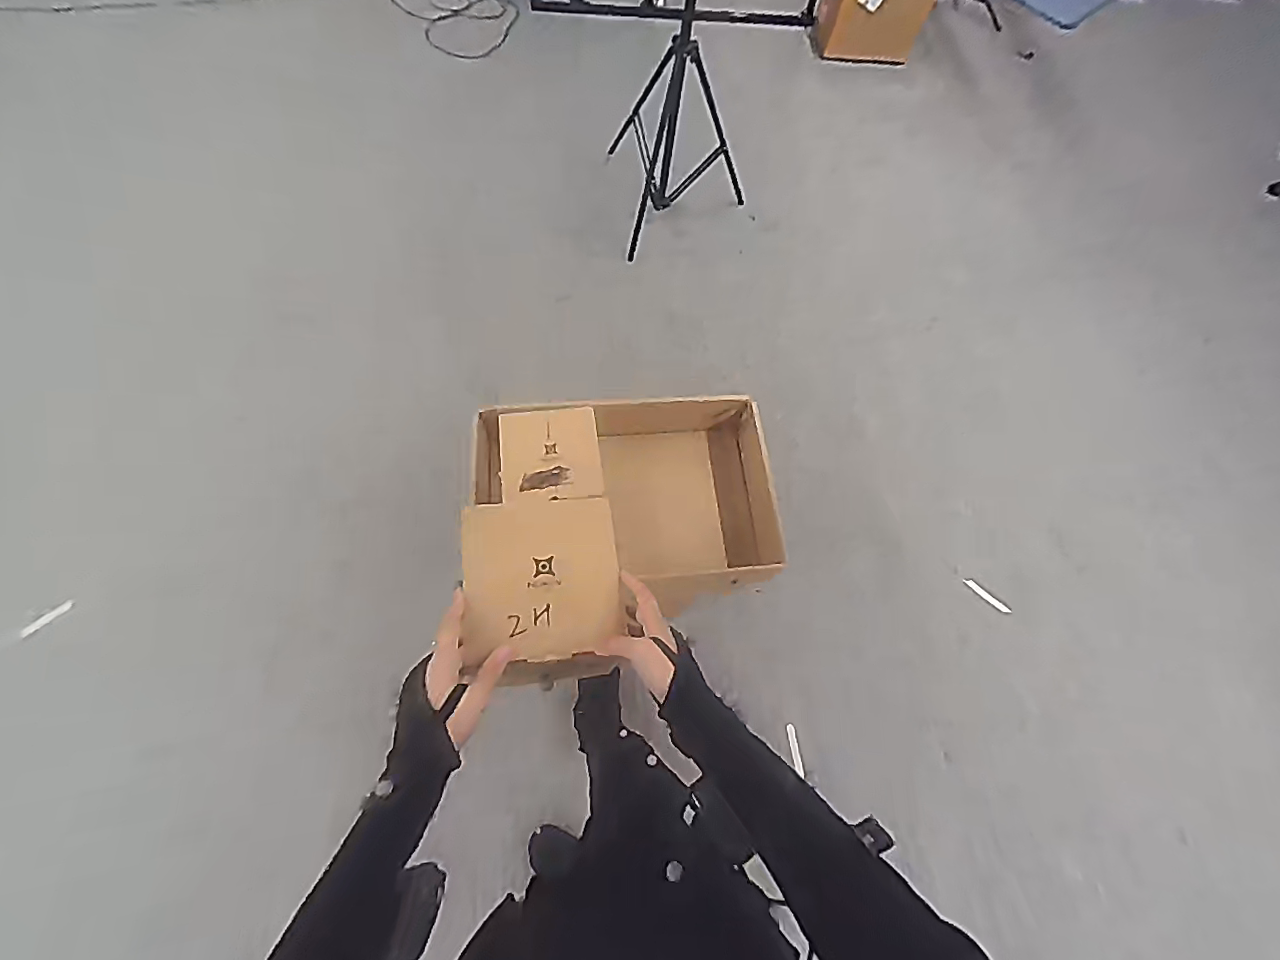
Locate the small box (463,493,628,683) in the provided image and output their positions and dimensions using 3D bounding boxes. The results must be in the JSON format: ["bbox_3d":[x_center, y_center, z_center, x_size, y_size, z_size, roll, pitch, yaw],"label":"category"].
[{"bbox_3d":[-0.117,0.132,0.644,0.168,0.176,0.179,-3,64,-13],"label":"small box"}]

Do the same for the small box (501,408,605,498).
[{"bbox_3d":[-0.152,-0.006,0.970,0.168,0.176,0.179,-6,65,-7],"label":"small box"}]
